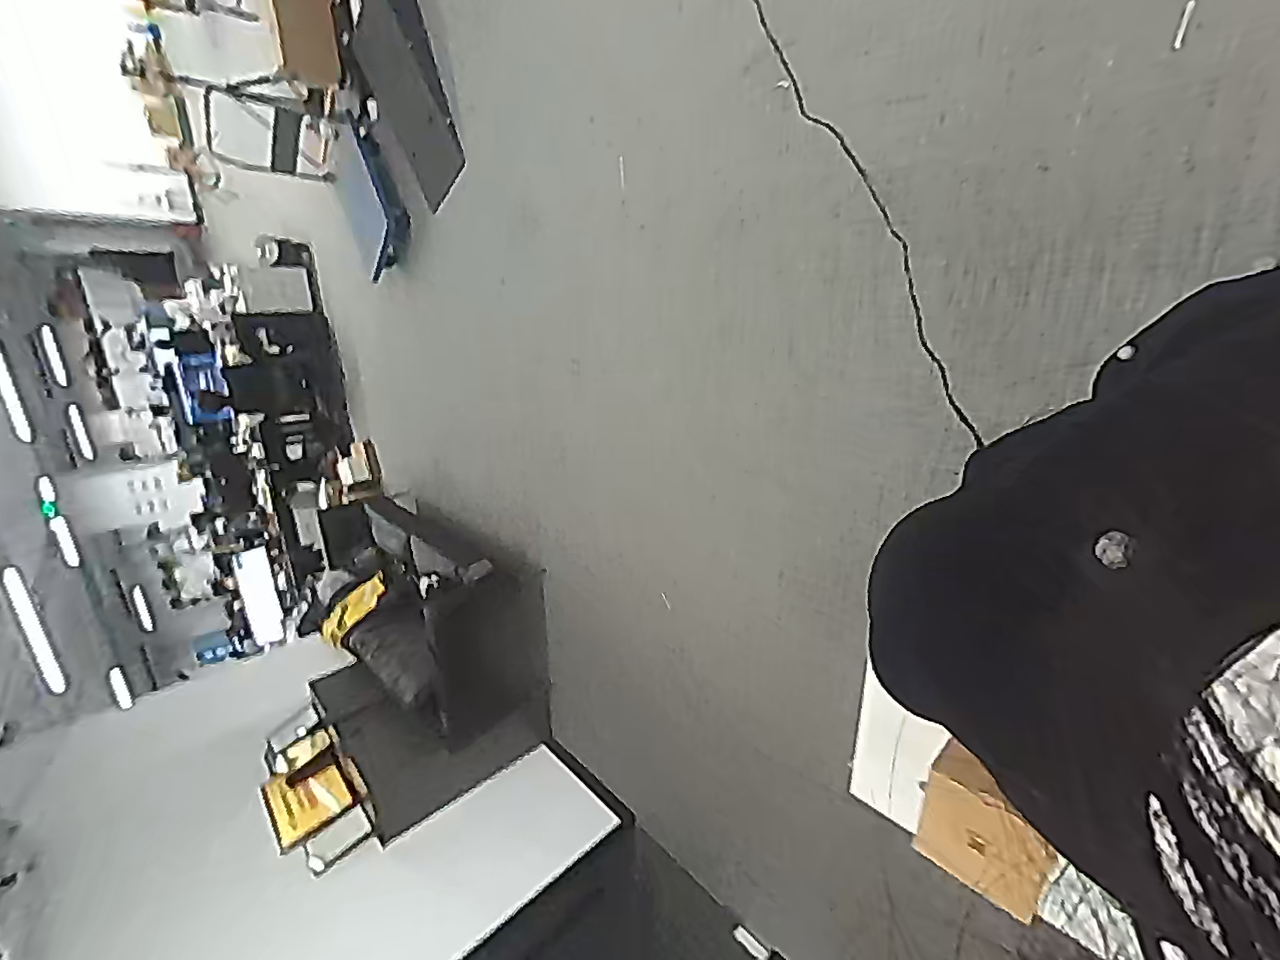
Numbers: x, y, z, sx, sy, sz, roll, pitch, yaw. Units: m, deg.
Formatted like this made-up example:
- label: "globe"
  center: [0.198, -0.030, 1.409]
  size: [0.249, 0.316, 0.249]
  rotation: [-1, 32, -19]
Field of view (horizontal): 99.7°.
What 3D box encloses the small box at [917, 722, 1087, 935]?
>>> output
- label: "small box"
  center: [0.556, 0.521, 0.833]
  size: [0.168, 0.176, 0.179]
  rotation: [18, 116, 45]
